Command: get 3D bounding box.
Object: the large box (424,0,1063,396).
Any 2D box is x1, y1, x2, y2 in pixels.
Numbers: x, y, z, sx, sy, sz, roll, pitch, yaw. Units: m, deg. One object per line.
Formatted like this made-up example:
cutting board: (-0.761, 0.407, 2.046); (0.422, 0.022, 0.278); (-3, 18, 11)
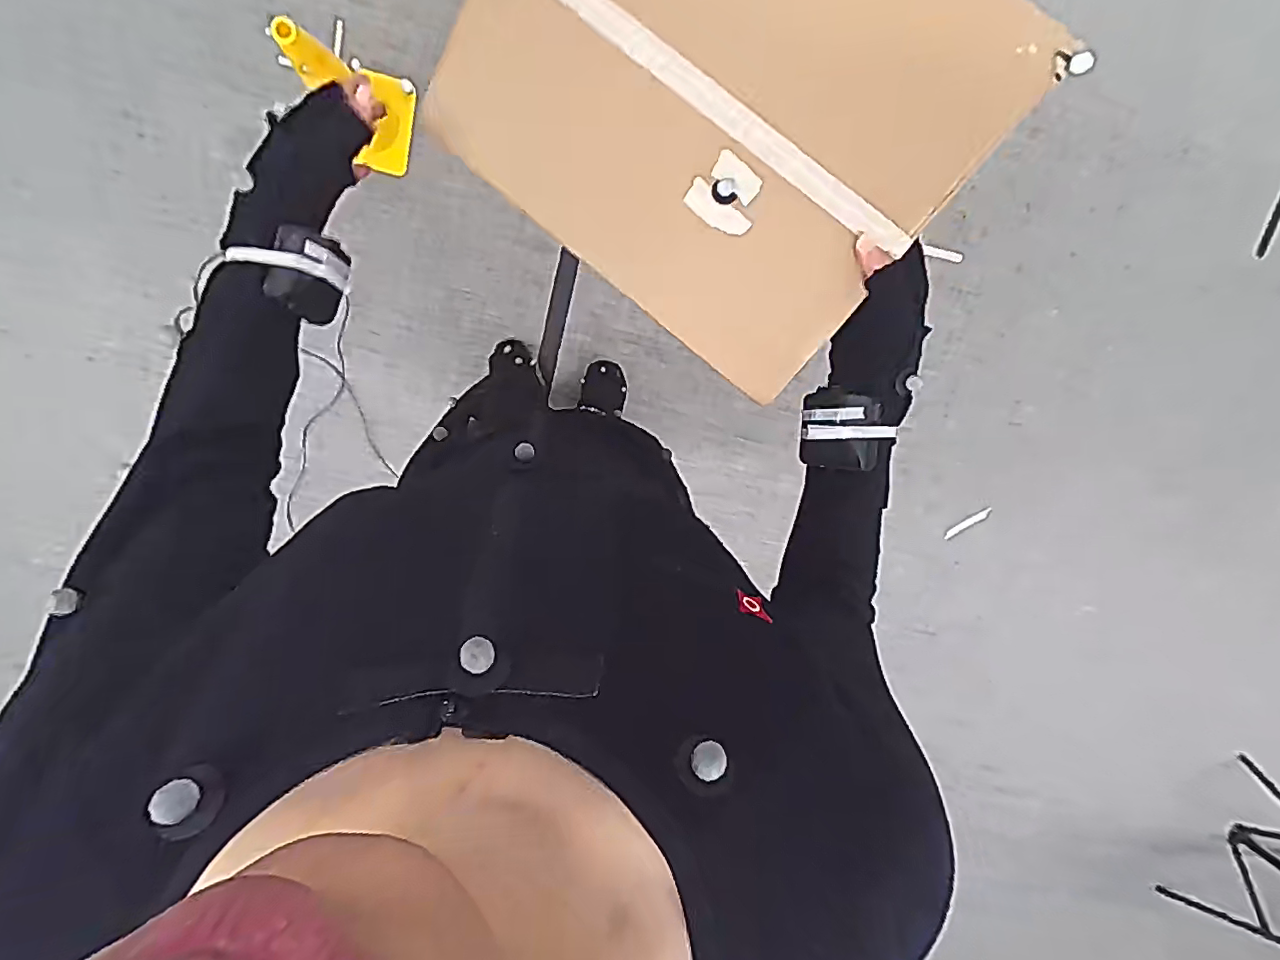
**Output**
large box: (0.081, -0.346, 0.561); (0.408, 0.320, 0.320); (38, 113, 0)
